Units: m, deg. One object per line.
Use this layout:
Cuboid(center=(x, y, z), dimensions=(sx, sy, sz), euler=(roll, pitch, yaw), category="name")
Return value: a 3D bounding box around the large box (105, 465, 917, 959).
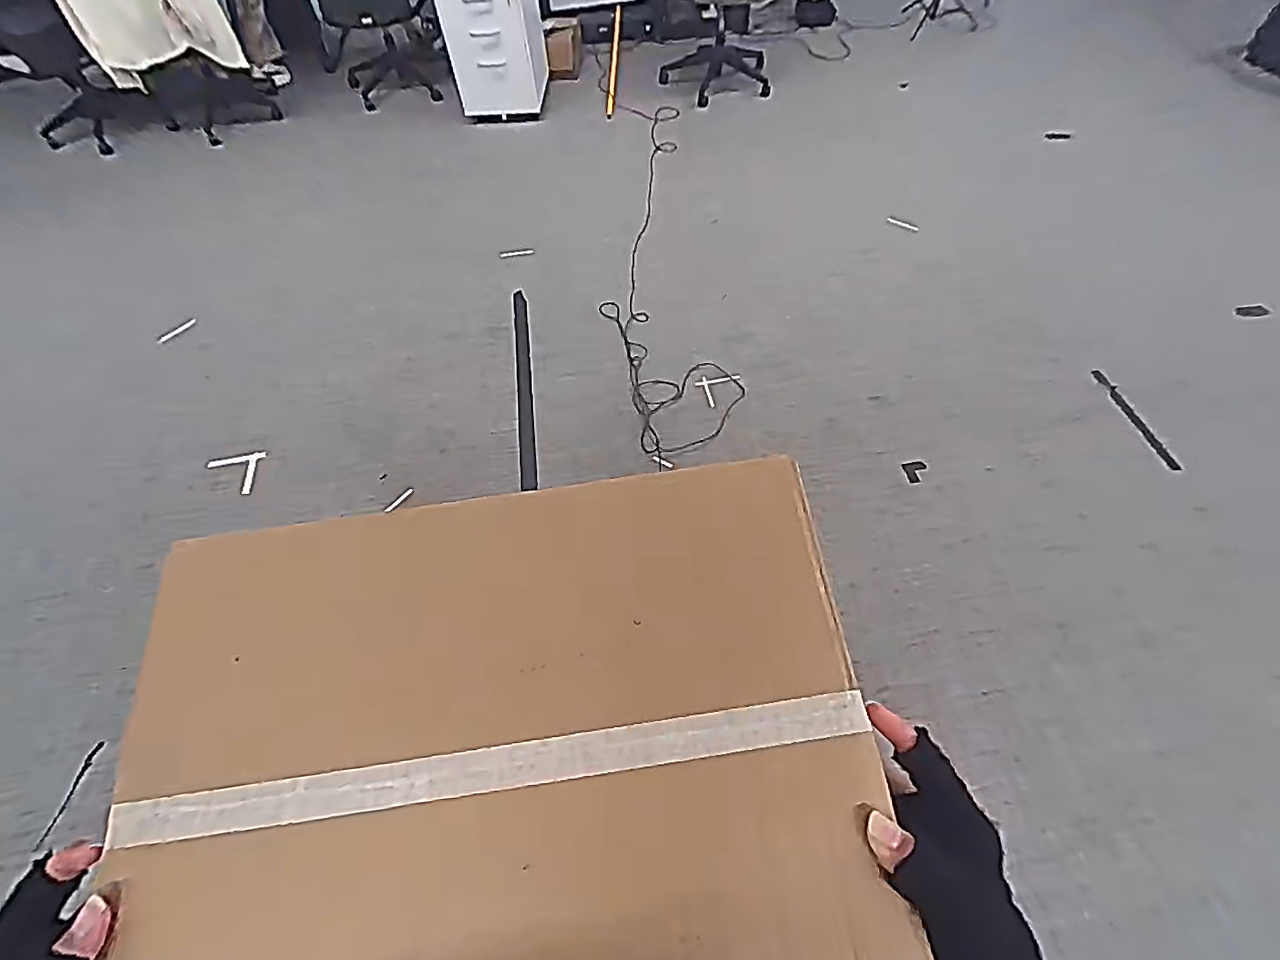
Cuboid(center=(-0.071, 0.214, 0.437), dimensions=(0.408, 0.320, 0.320), euler=(-8, 66, -1), category="large box")
